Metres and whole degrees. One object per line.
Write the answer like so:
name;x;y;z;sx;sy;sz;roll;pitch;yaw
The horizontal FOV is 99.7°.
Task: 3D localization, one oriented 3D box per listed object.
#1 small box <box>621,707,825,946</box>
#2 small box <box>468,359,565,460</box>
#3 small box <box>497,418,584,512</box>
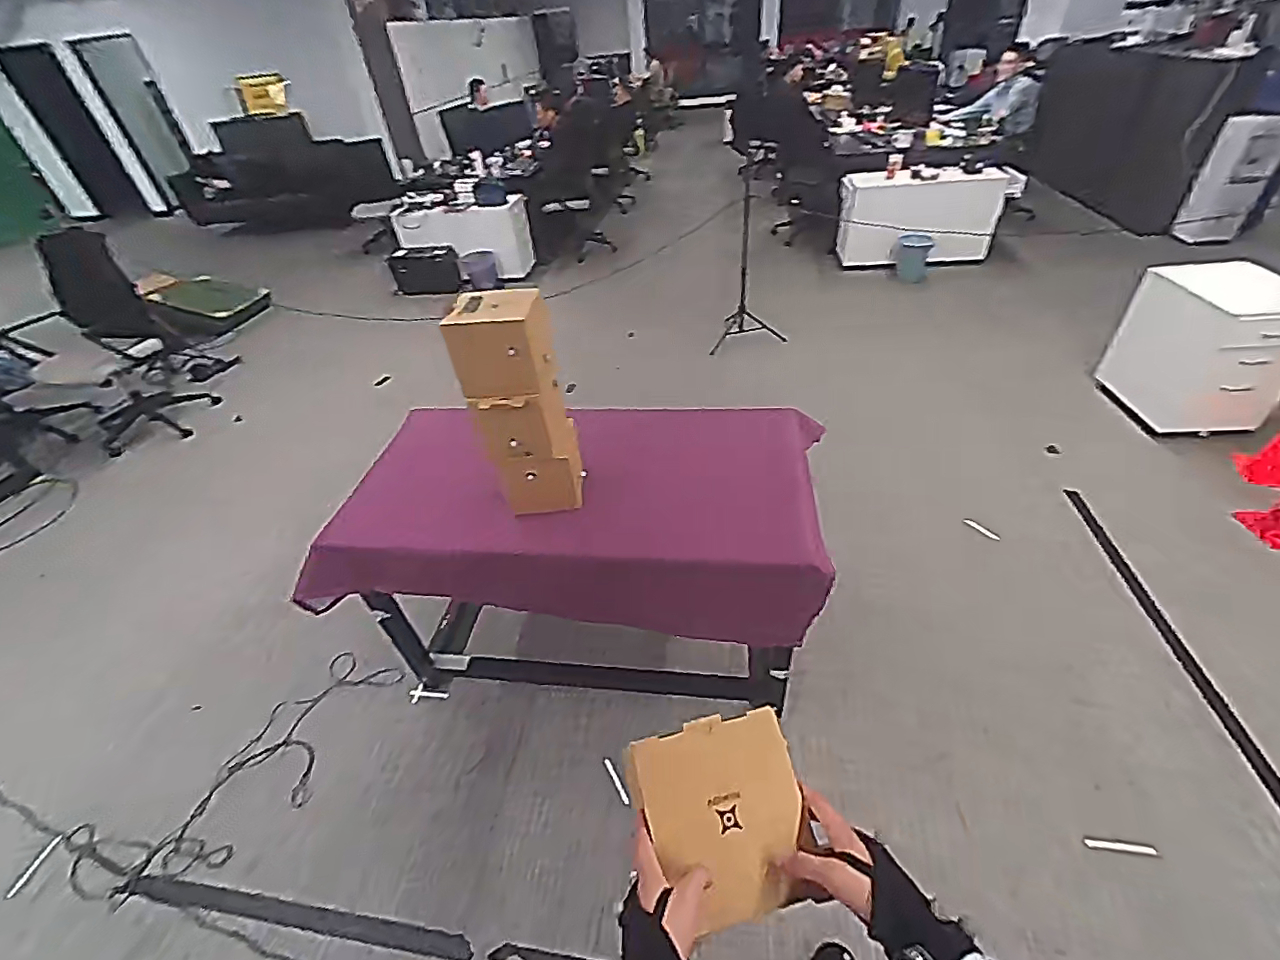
small box;0.077;0.380;0.618;0.168;0.176;0.179;-11;60;-11
small box;-0.277;-0.163;1.259;0.168;0.176;0.179;-3;40;6
small box;-0.241;-0.034;1.357;0.179;0.176;0.168;-5;40;1
